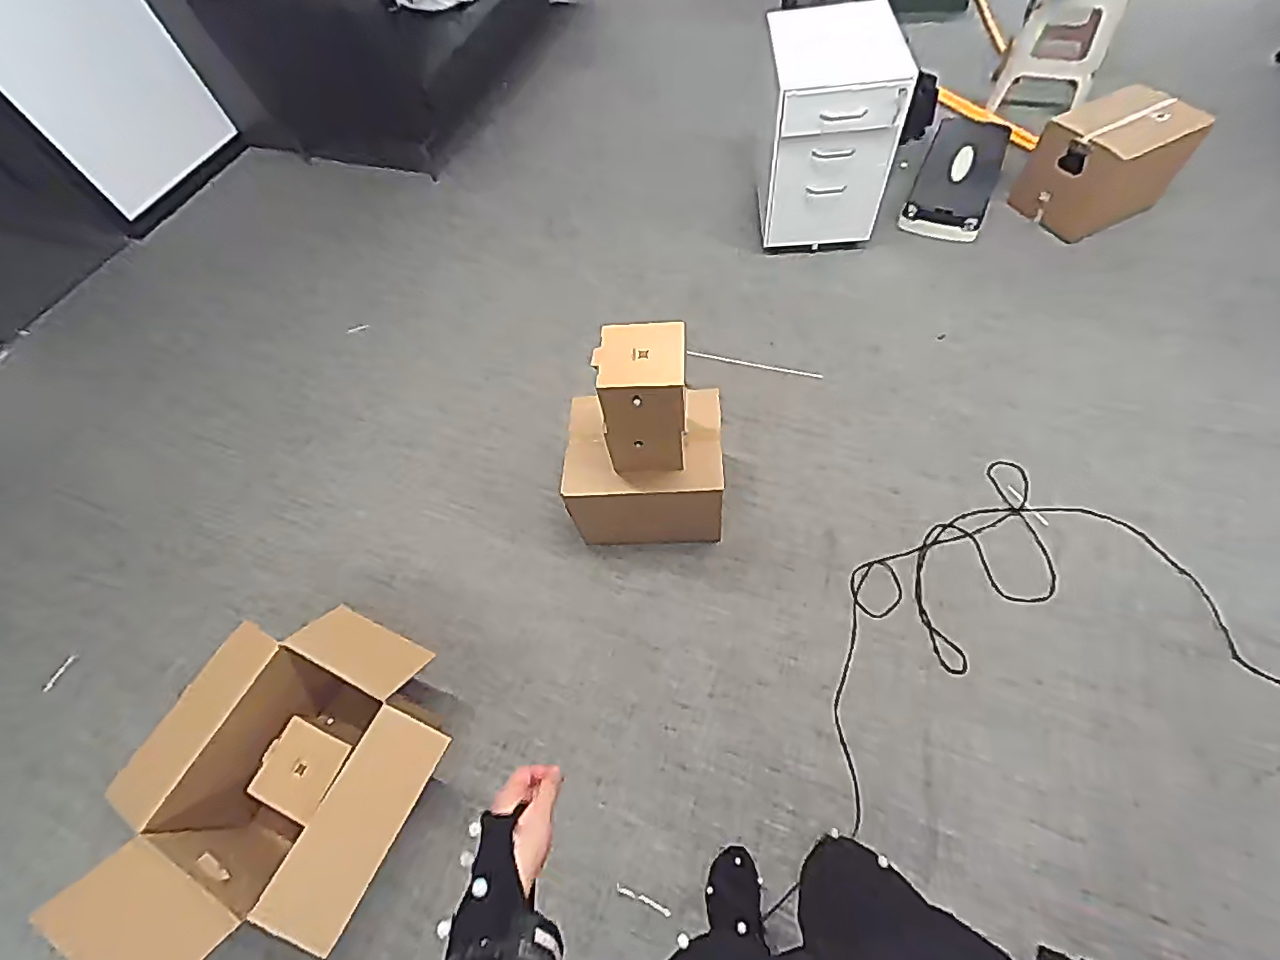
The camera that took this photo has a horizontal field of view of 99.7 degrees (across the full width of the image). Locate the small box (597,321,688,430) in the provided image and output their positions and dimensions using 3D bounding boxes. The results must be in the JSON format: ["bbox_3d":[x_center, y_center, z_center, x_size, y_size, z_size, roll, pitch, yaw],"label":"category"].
[{"bbox_3d":[0.013,-0.221,1.171,0.179,0.176,0.168,-2,62,8],"label":"small box"}]

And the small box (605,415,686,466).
[{"bbox_3d":[0.020,-0.142,1.313,0.179,0.176,0.168,-2,61,7],"label":"small box"}]
